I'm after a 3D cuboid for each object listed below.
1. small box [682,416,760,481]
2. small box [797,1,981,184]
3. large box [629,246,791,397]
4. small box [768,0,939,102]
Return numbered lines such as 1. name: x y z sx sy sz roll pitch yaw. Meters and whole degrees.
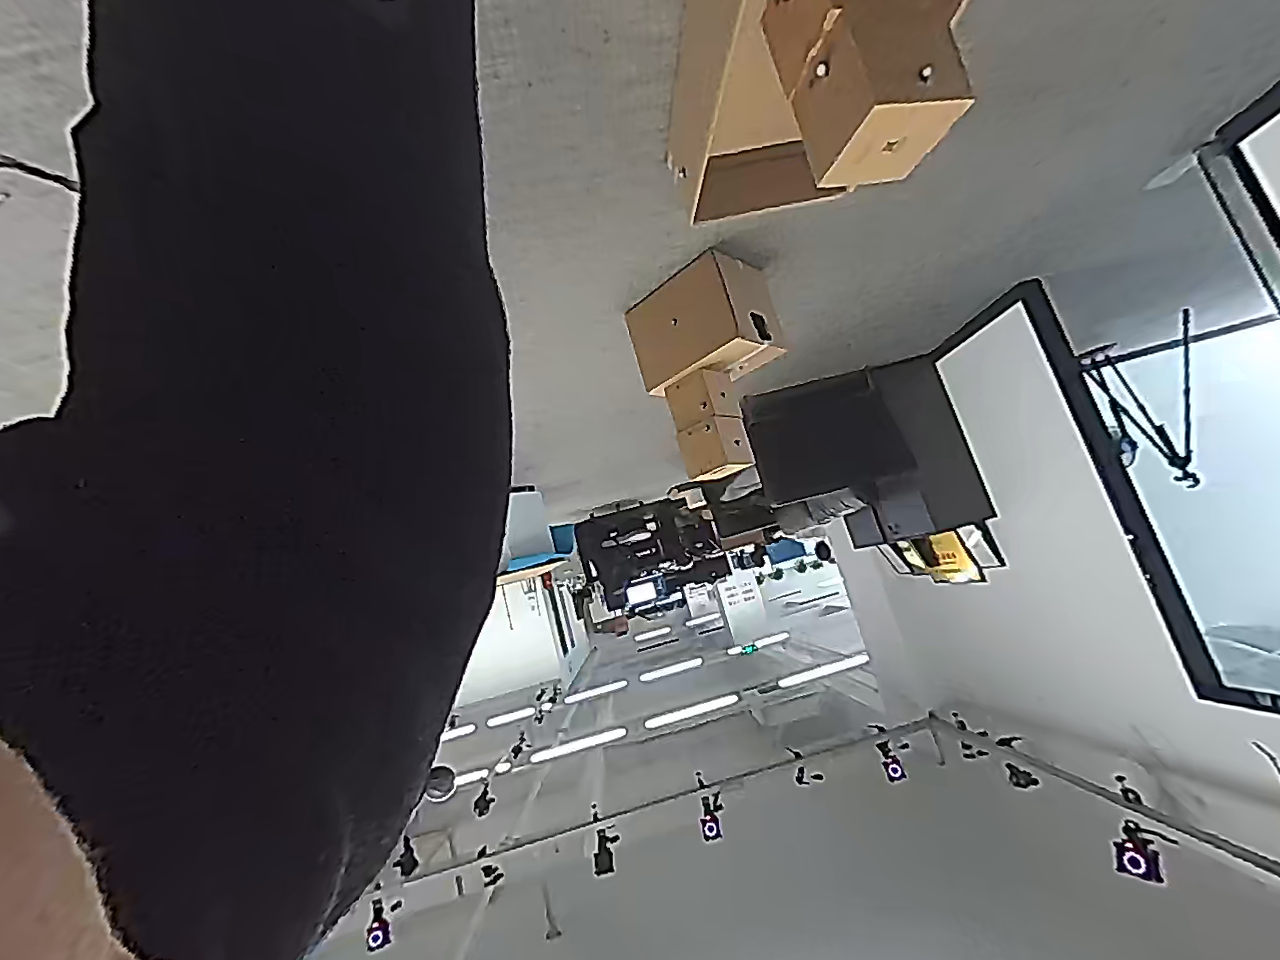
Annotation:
1. small box: 0.265 -0.107 1.804 0.168 0.176 0.179 -25 167 40
2. small box: 0.378 -0.601 0.847 0.179 0.176 0.168 -12 171 -13
3. large box: 0.230 -0.520 1.859 0.320 0.320 0.408 -6 165 -46
4. small box: 0.331 -0.756 0.868 0.179 0.176 0.168 -13 172 -9
